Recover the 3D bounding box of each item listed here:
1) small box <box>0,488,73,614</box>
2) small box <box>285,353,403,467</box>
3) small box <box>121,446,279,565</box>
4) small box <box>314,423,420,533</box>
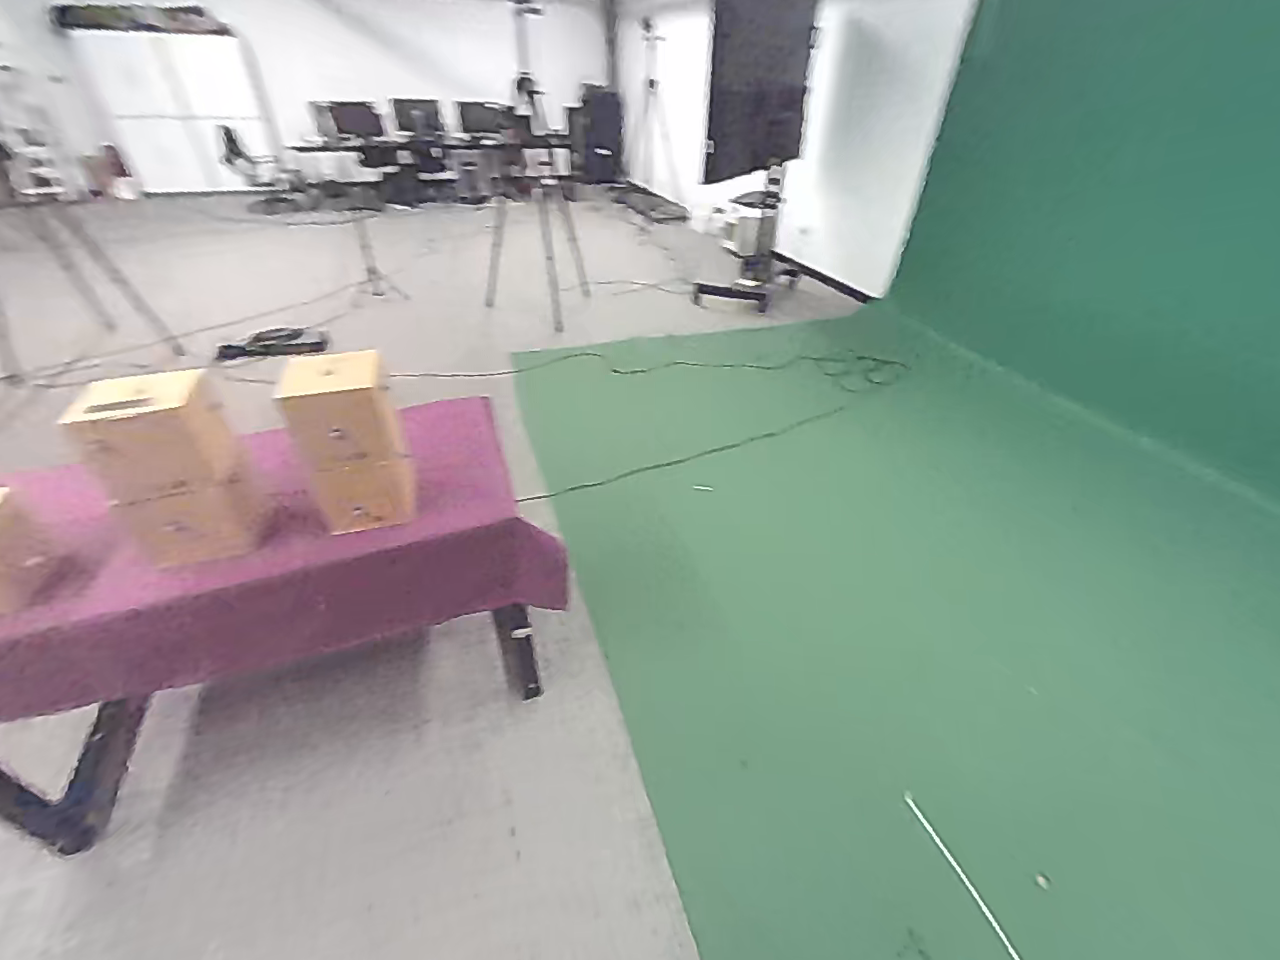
[{"bbox_3d":[-1.217,0.139,0.982,0.179,0.176,0.168,-9,37,-15],"label":"small box"},{"bbox_3d":[-0.590,-0.139,1.104,0.168,0.176,0.179,-10,38,-15],"label":"small box"},{"bbox_3d":[-0.886,0.053,1.111,0.179,0.176,0.168,-10,38,-14],"label":"small box"},{"bbox_3d":[-0.594,-0.006,1.202,0.168,0.176,0.179,-9,38,-13],"label":"small box"}]
